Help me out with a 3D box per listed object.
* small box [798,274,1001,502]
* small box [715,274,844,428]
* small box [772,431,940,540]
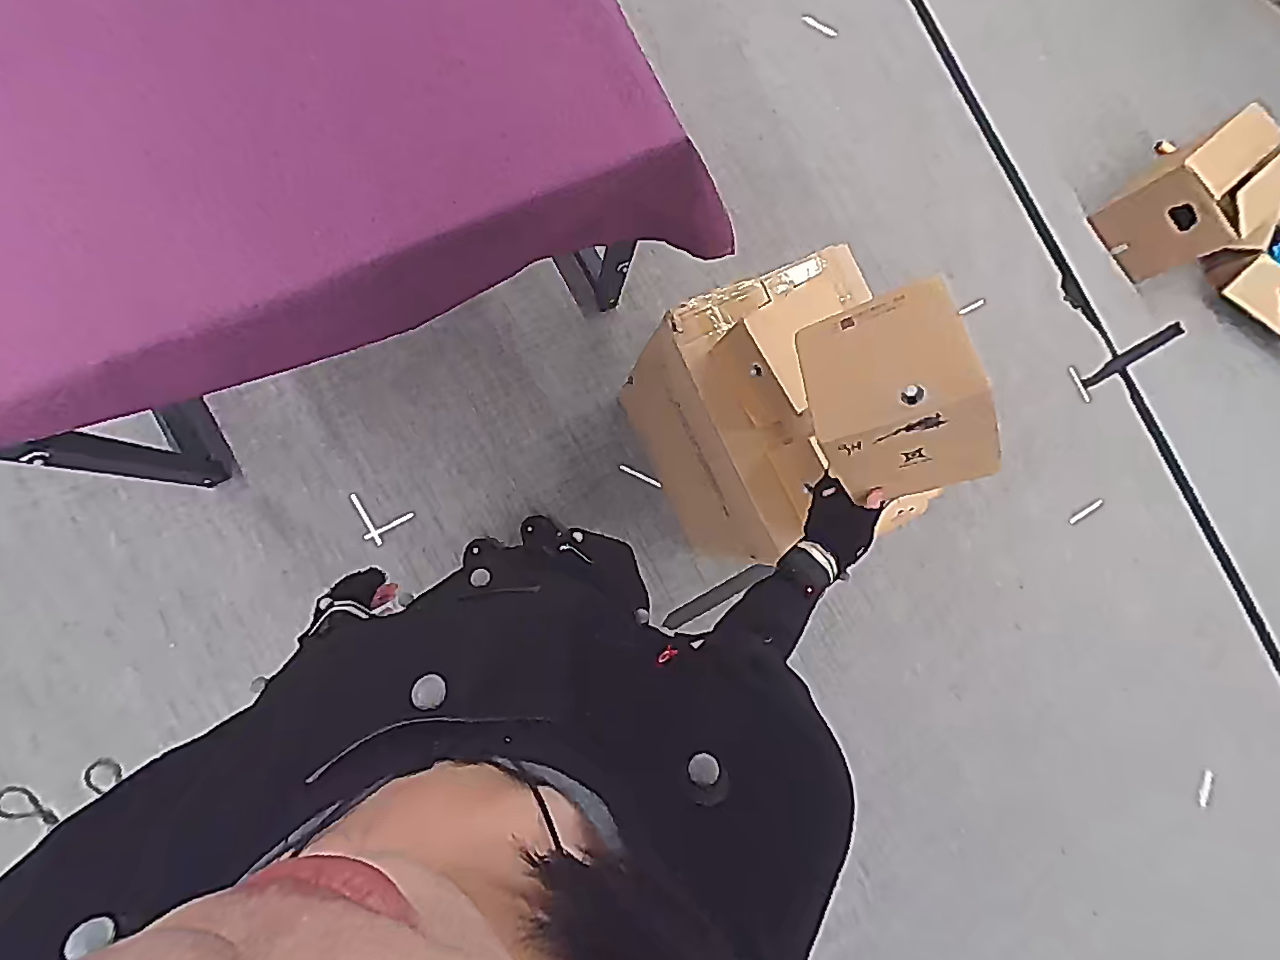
[{"bbox_3d":[0.299,-0.098,0.630,0.168,0.179,0.176,-19,57,26],"label":"small box"},{"bbox_3d":[0.253,-0.210,0.925,0.168,0.176,0.179,-31,92,-10],"label":"small box"},{"bbox_3d":[0.355,-0.011,0.921,0.168,0.176,0.179,-26,87,-11],"label":"small box"}]
